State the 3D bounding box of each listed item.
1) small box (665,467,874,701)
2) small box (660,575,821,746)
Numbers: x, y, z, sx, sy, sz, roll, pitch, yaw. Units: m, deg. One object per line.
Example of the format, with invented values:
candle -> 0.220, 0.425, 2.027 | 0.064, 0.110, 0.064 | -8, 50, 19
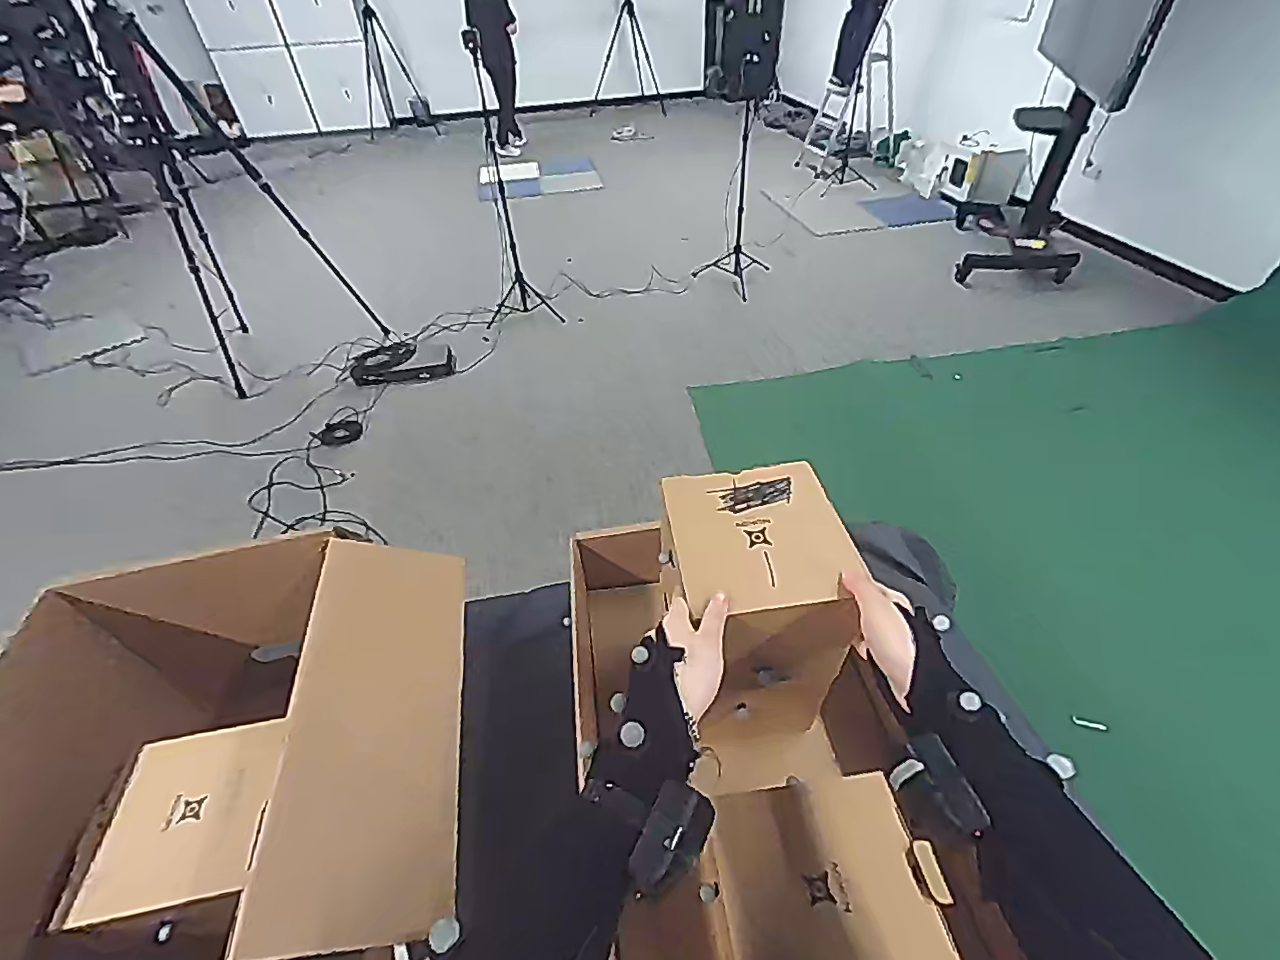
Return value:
small box -> 0.118, 0.112, 0.584 | 0.168, 0.176, 0.179 | -8, 46, -3
small box -> 0.126, 0.226, 0.702 | 0.179, 0.176, 0.168 | -8, 45, -2
